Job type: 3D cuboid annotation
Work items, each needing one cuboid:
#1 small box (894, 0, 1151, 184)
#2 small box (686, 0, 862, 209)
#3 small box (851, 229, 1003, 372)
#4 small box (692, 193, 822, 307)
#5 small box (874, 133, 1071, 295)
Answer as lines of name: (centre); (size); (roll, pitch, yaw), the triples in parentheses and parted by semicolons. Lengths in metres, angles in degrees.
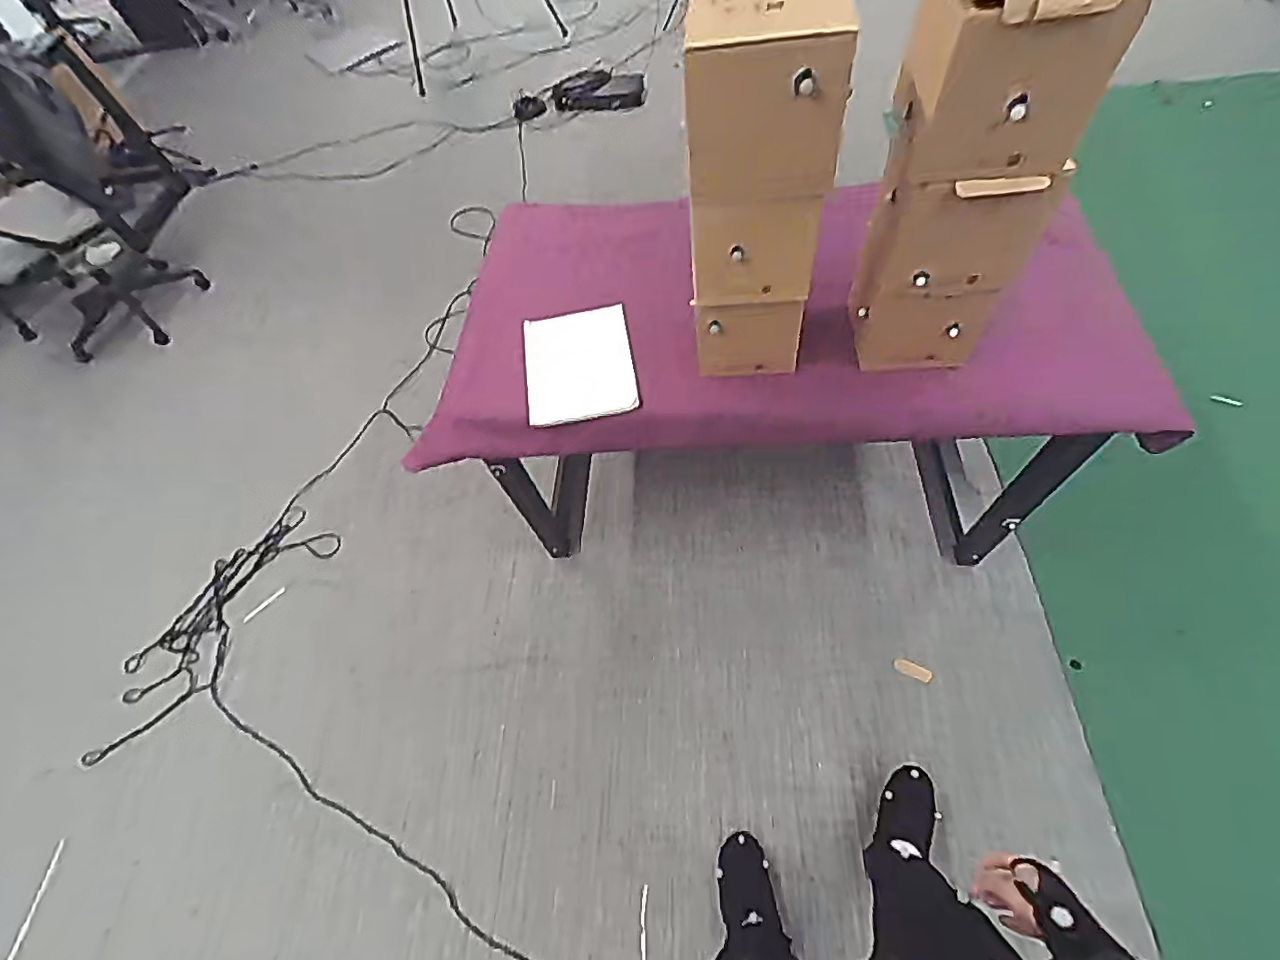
small box: (0.408, -0.462, 0.618); (0.168, 0.176, 0.179); (1, 59, 8)
small box: (0.153, -0.453, 0.650); (0.179, 0.176, 0.168); (1, 58, 11)
small box: (0.458, -0.294, 0.895); (0.168, 0.176, 0.179); (0, 58, 8)
small box: (0.168, -0.371, 0.794); (0.168, 0.176, 0.179); (0, 58, 9)
small box: (0.441, -0.376, 0.754); (0.168, 0.176, 0.179); (-1, 57, 7)
